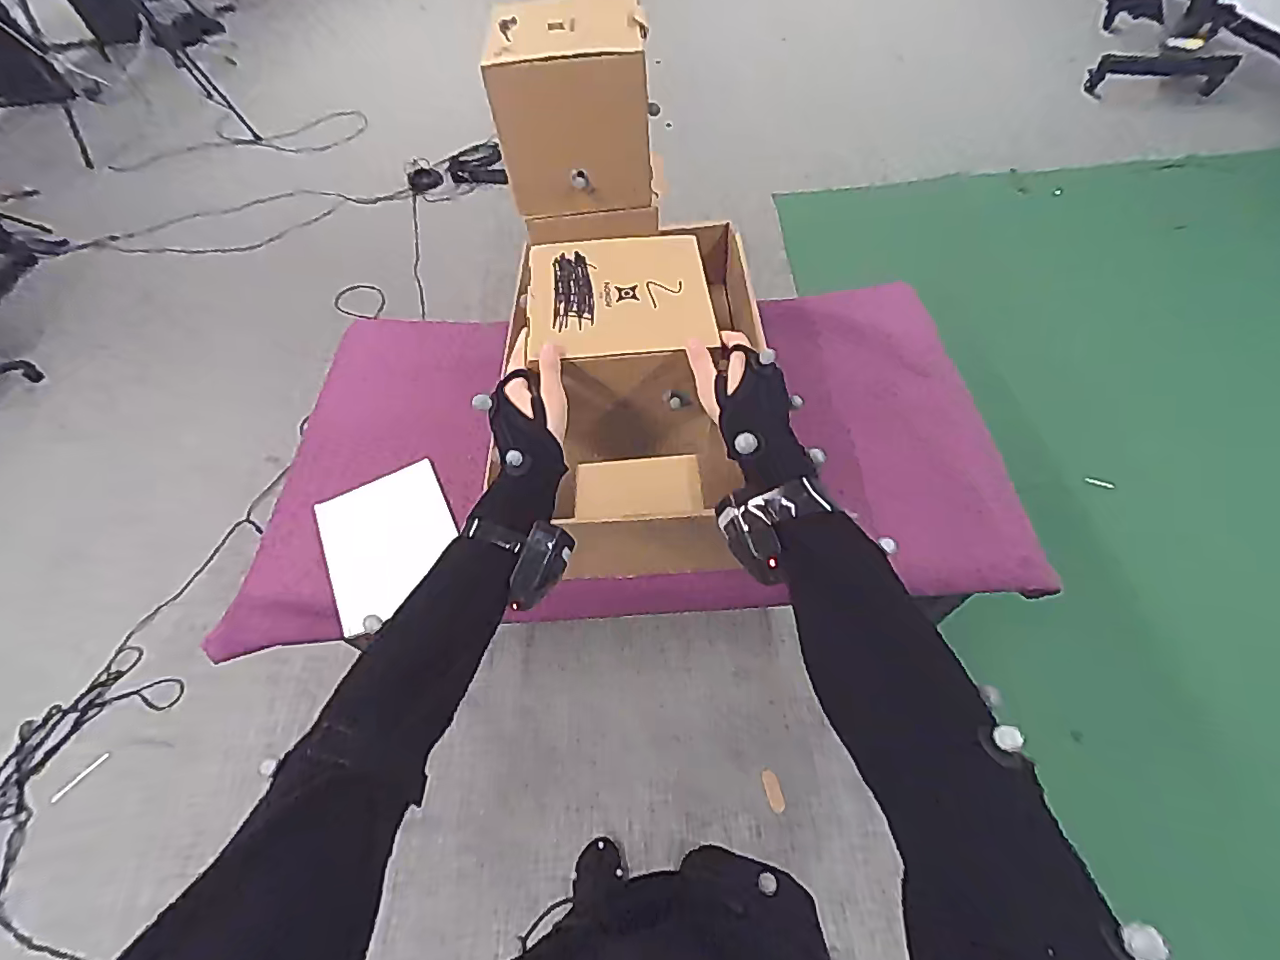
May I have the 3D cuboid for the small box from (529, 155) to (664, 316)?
[{"bbox_3d":[-0.057,-0.367,0.802,0.179,0.176,0.168,-6,57,1],"label":"small box"}]

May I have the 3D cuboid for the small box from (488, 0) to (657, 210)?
[{"bbox_3d":[-0.070,-0.458,0.666,0.179,0.176,0.168,-3,57,1],"label":"small box"}]
